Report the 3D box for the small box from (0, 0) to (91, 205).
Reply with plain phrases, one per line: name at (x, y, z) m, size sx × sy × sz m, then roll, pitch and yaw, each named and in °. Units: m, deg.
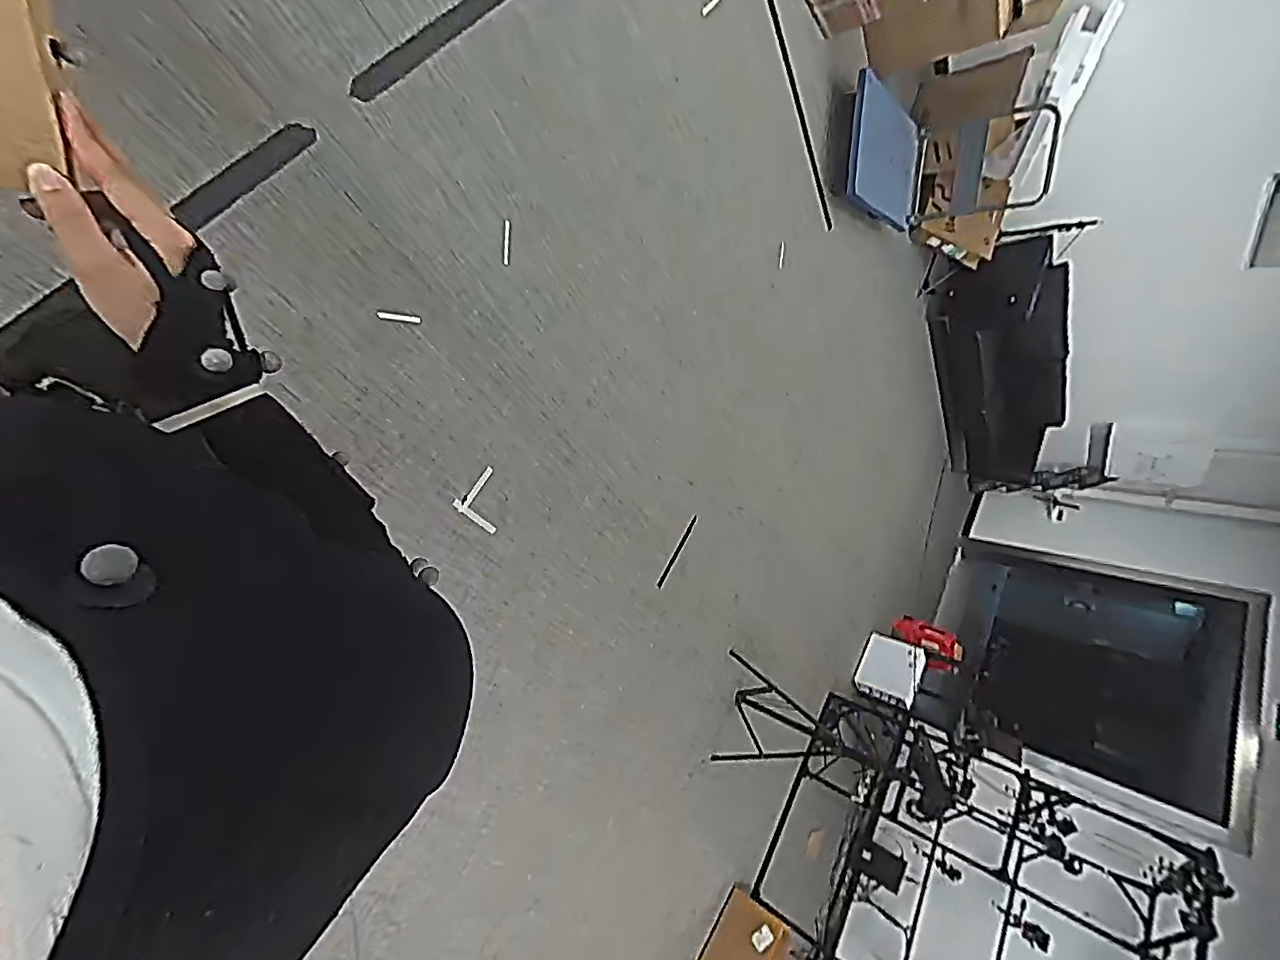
small box at (-0.408, -0.249, 0.266) m, size 0.179 × 0.176 × 0.168 m, roll -10°, pitch 122°, yaw -40°
